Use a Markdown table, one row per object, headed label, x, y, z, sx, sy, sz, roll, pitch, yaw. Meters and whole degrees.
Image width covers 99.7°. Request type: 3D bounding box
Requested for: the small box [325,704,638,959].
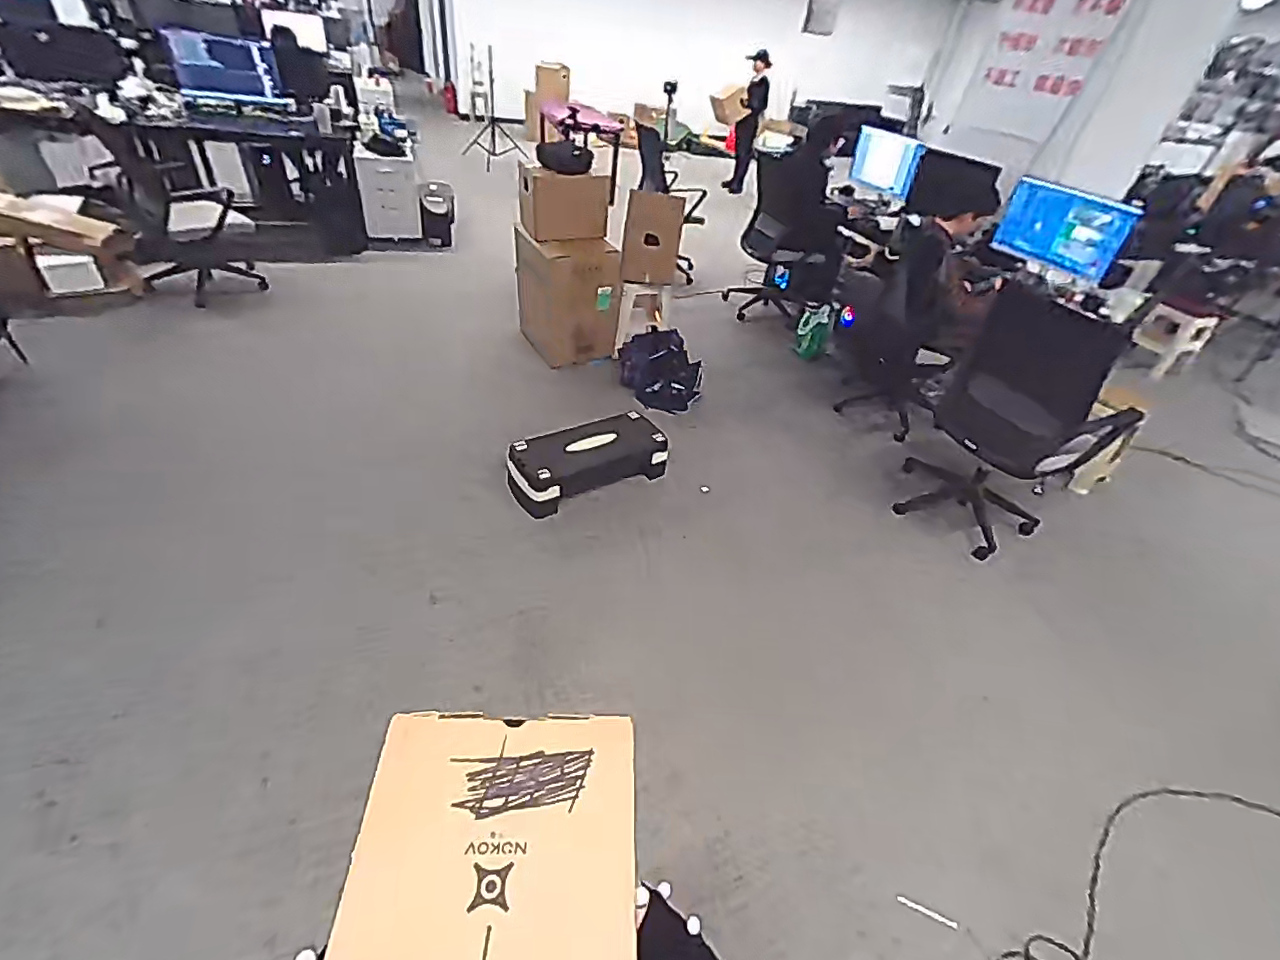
| label | x | y | z | sx | sy | sz | roll | pitch | yaw |
| --- | --- | --- | --- | --- | --- | --- | --- | --- | --- |
| small box | -0.090 | 0.275 | 0.376 | 0.168 | 0.176 | 0.179 | 2 | 49 | -4 |
